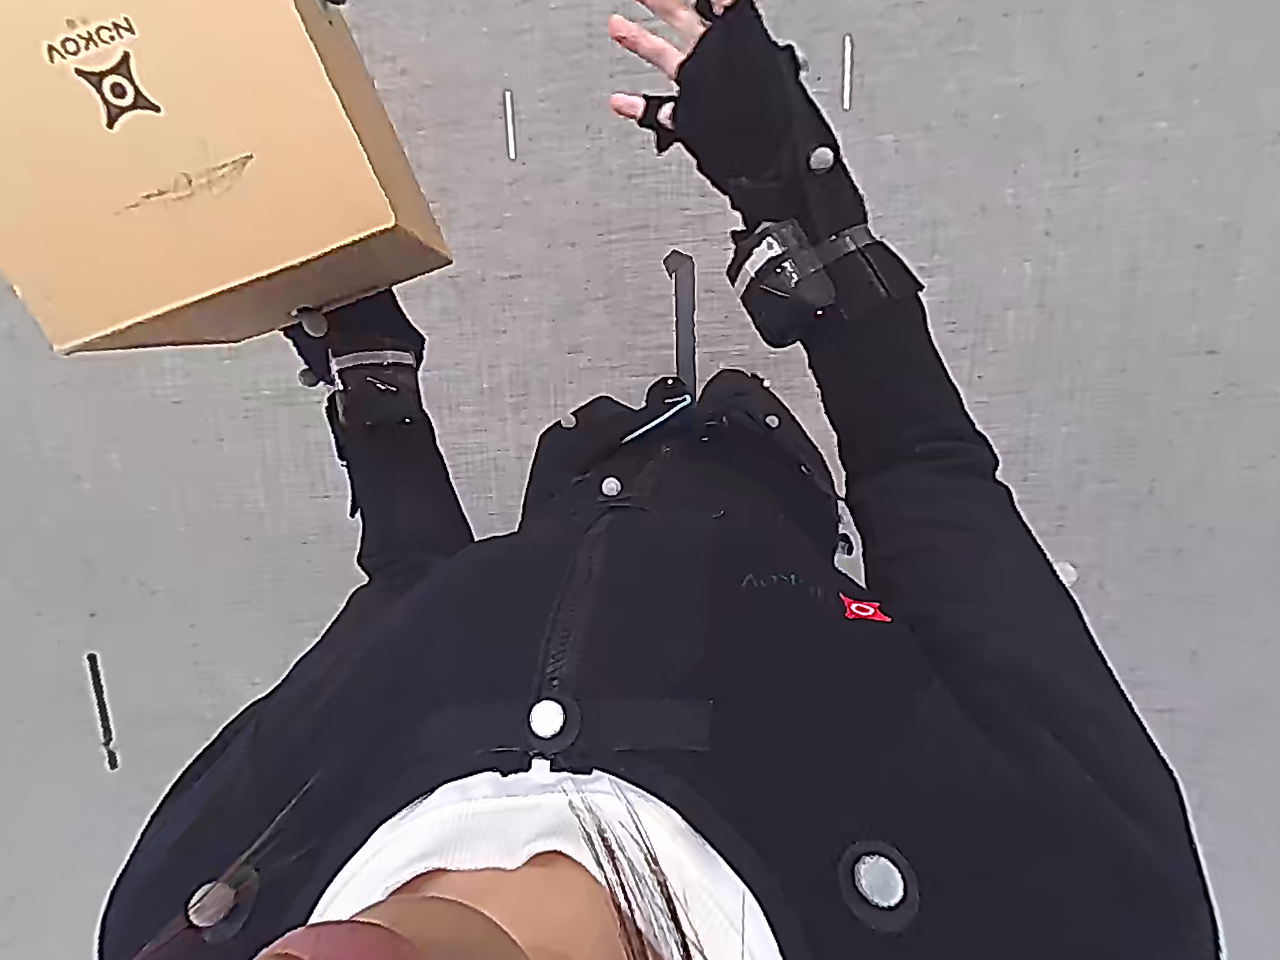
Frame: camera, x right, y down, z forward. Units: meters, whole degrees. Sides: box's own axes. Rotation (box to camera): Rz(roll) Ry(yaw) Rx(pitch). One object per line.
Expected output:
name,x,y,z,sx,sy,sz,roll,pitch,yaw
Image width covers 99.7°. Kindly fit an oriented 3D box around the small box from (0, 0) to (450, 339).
small box,-0.233,-0.192,0.314,0.168,0.176,0.179,-23,109,-3
